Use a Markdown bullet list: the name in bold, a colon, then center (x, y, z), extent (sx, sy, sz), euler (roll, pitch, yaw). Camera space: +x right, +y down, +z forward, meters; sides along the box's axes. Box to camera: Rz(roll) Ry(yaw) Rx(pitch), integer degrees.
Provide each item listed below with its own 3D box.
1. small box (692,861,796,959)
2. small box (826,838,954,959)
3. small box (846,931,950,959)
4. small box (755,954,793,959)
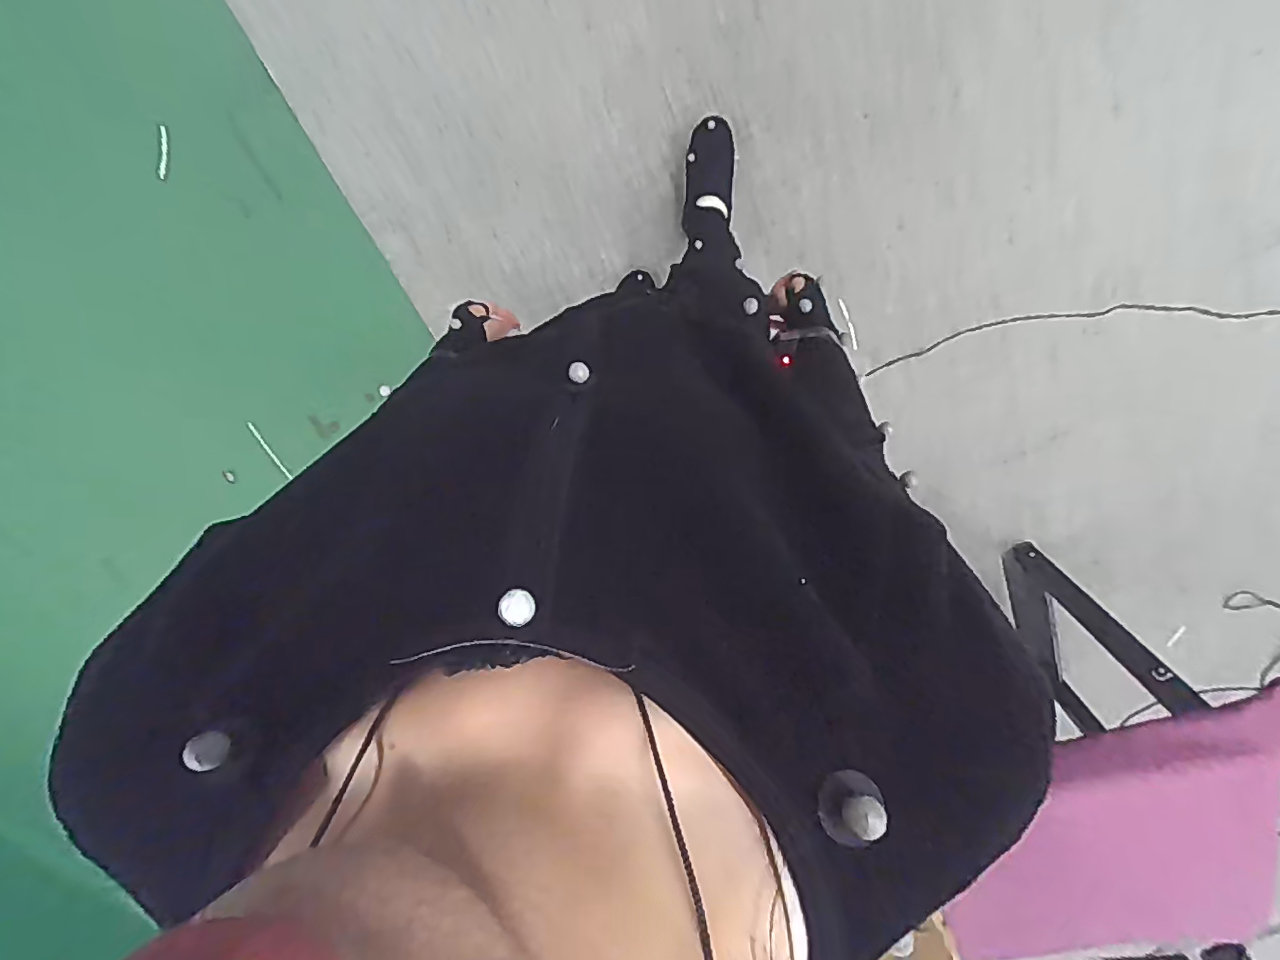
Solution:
- **small box**: center (0.221, 0.955, 1.149), extent (0.179, 0.176, 0.168), euler (-25, 113, 14)
- **small box**: center (0.502, 0.870, 1.095), extent (0.168, 0.176, 0.179), euler (-27, 112, 14)
- **small box**: center (0.471, 0.929, 0.942), extent (0.179, 0.176, 0.168), euler (-14, 116, 8)
- **small box**: center (0.228, 1.029, 1.003), extent (0.179, 0.176, 0.168), euler (-20, 113, 11)
